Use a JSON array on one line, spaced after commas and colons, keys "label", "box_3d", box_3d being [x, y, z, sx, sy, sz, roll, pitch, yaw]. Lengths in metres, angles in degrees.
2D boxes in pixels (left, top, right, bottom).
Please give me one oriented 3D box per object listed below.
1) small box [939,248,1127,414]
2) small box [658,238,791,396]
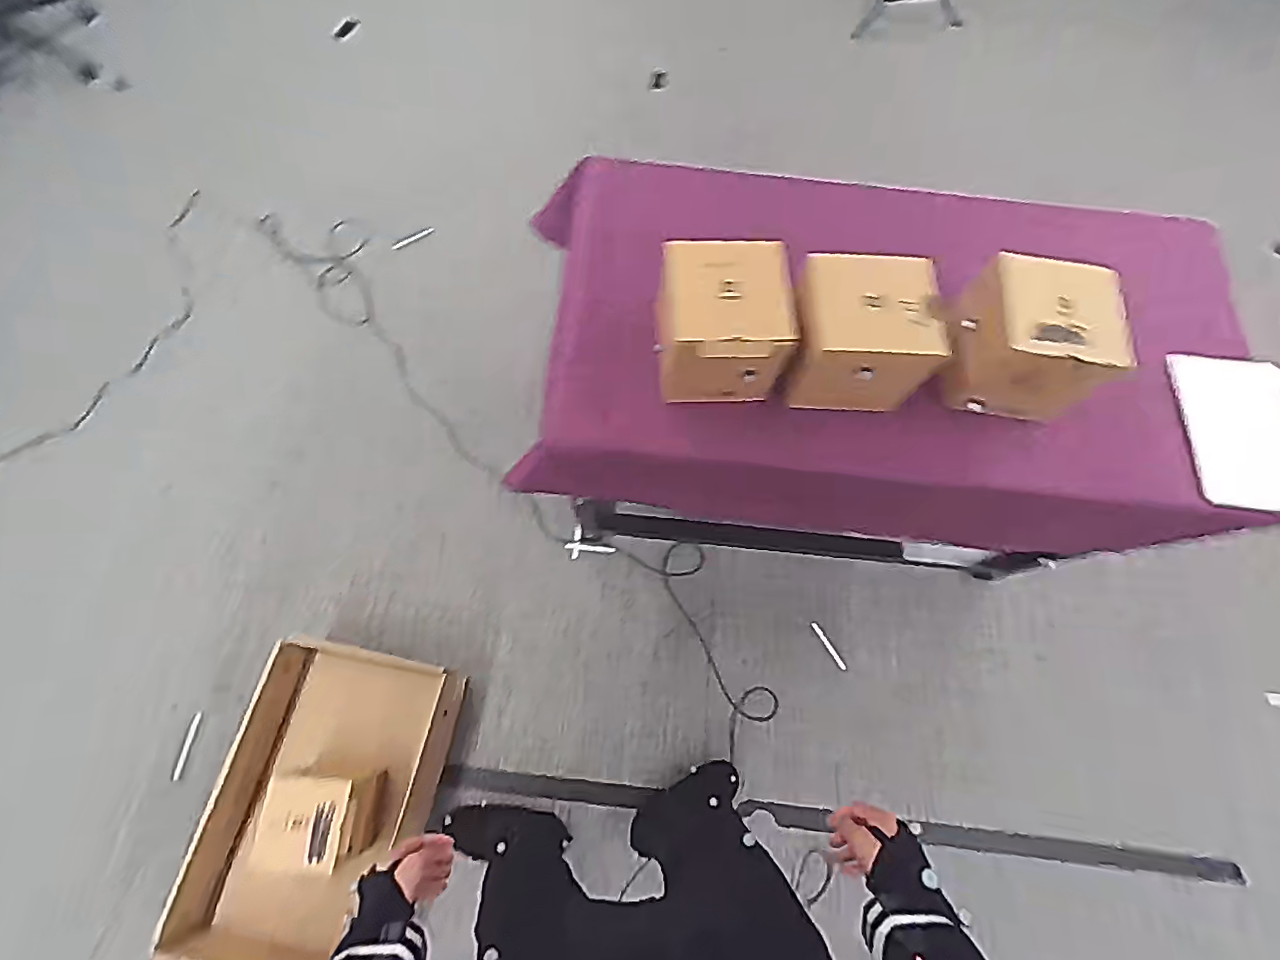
[{"label": "small box", "box_3d": [0.589, -0.221, 0.836, 0.168, 0.176, 0.179, 9, 69, 1]}, {"label": "small box", "box_3d": [0.117, -0.240, 0.825, 0.168, 0.176, 0.179, -1, 70, -4]}]
